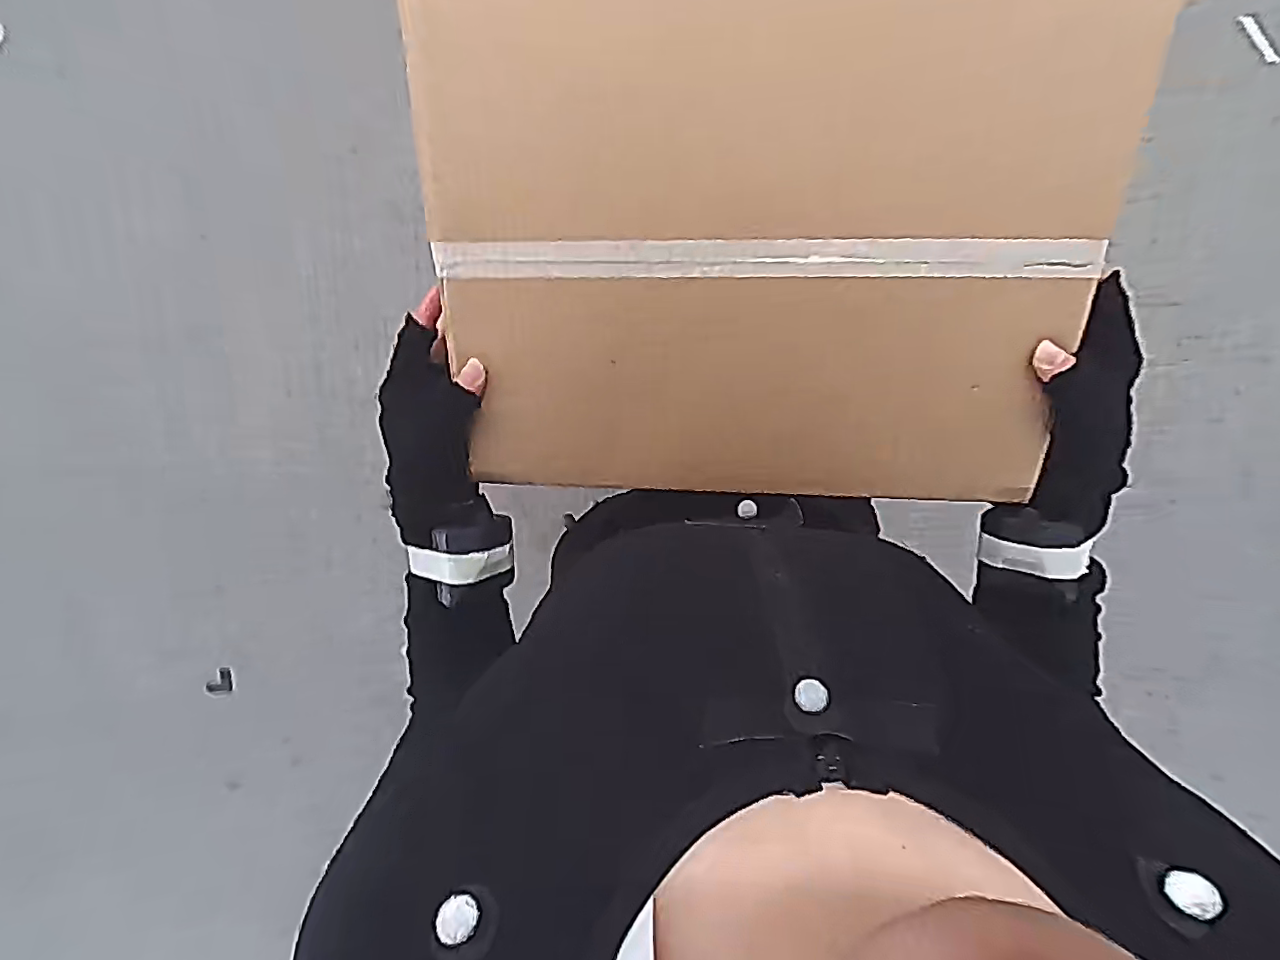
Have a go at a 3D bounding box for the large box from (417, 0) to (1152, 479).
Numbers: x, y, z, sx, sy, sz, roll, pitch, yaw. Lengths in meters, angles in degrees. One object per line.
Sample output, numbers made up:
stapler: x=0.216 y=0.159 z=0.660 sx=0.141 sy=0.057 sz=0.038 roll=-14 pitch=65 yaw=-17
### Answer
large box: x=0.082 y=-0.202 z=0.481 sx=0.408 sy=0.320 sz=0.320 roll=2 pitch=114 yaw=4
